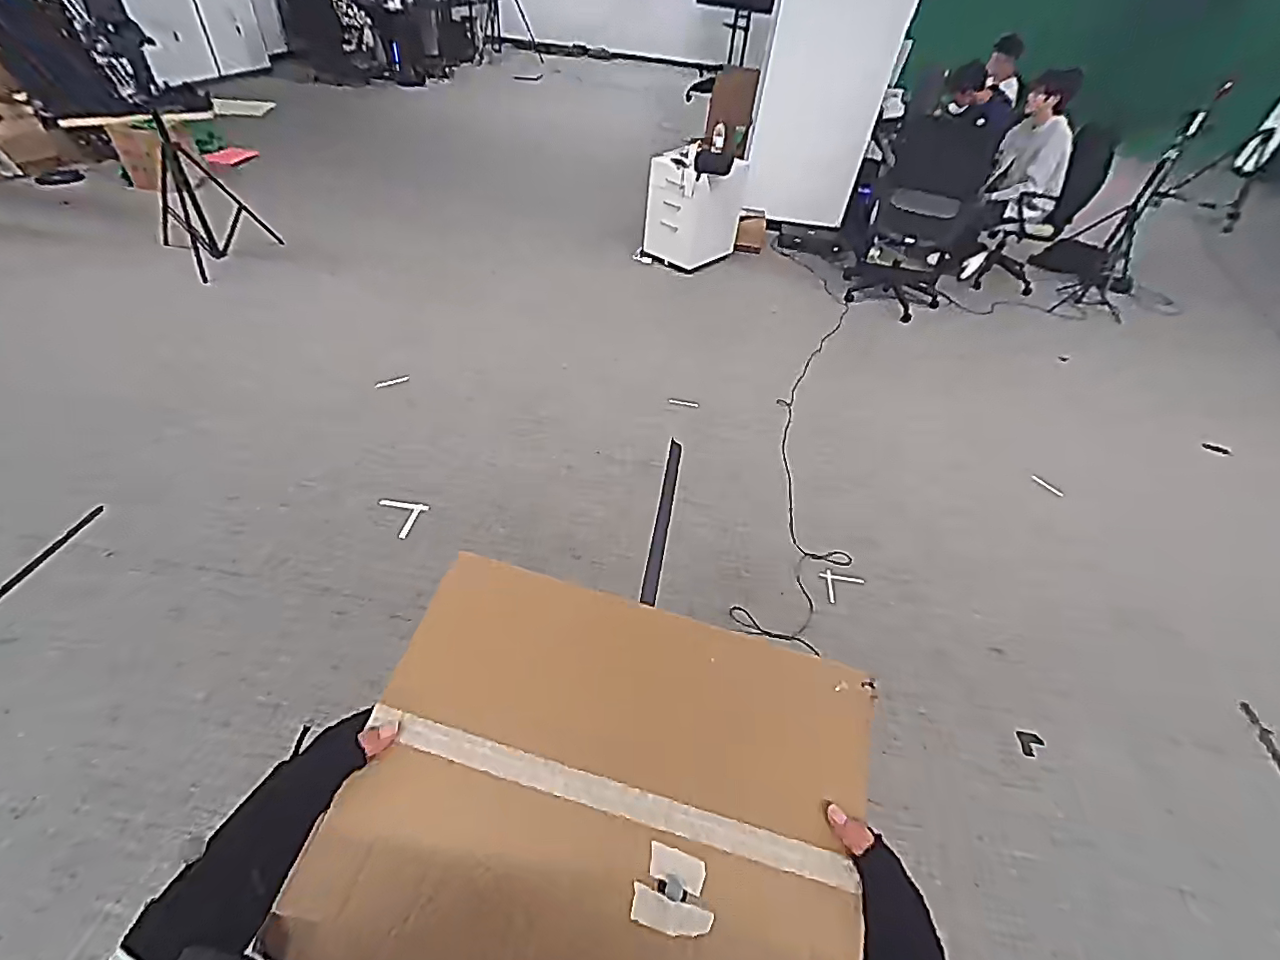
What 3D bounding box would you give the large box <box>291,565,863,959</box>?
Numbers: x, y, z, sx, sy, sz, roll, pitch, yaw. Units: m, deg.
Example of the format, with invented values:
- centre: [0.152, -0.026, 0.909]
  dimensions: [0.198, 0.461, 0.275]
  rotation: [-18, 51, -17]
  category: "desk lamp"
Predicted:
- centre: [-0.032, 0.334, 0.570]
  dimensions: [0.408, 0.320, 0.320]
  rotation: [16, 59, 6]
  category: "large box"
